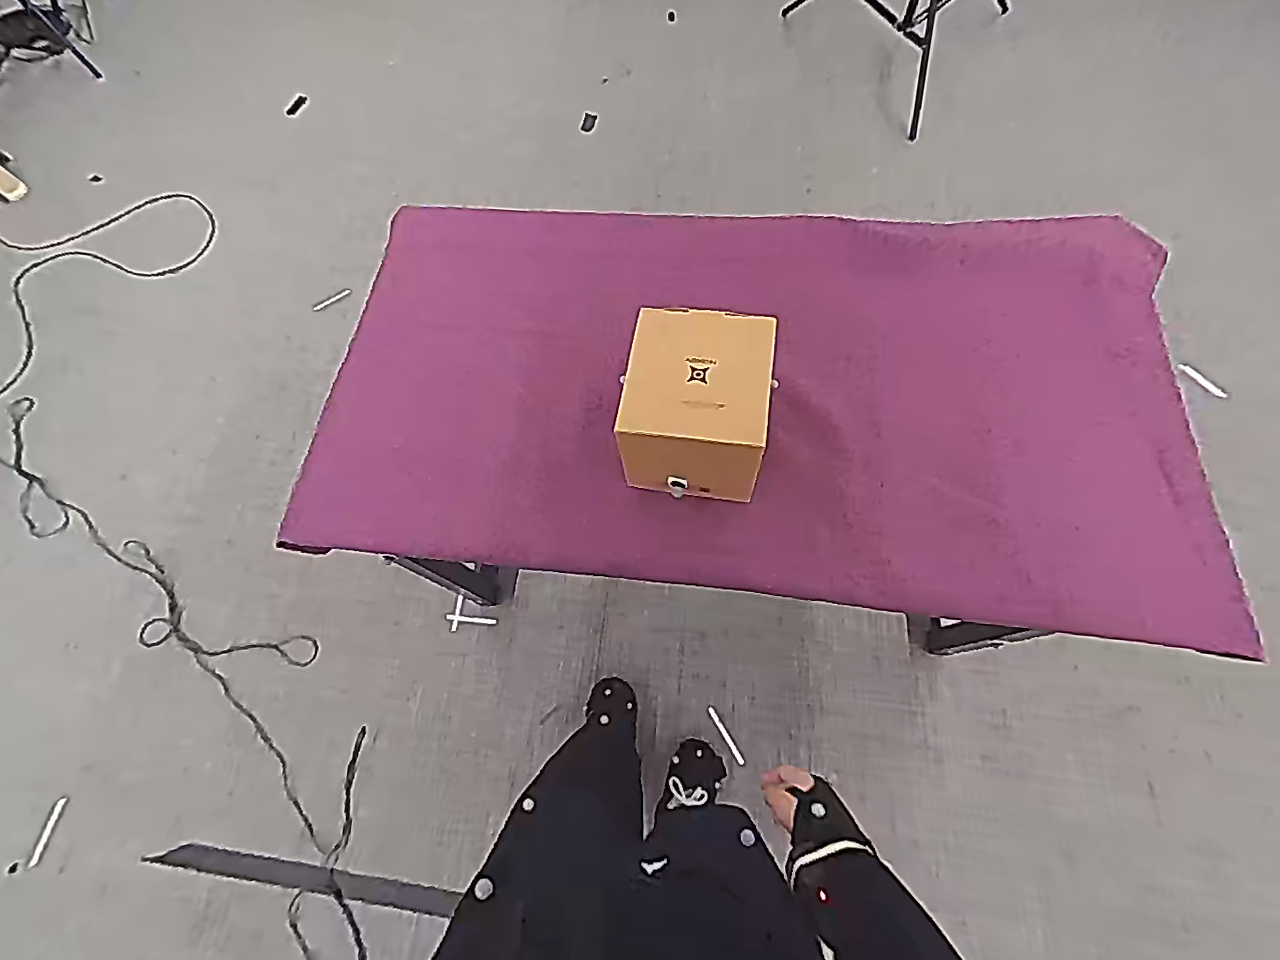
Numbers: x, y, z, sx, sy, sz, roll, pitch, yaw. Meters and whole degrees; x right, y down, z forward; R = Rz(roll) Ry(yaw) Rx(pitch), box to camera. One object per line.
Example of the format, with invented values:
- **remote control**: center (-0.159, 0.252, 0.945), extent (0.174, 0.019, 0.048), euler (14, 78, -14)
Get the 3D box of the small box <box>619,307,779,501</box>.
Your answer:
- **small box**: center (0.076, -0.092, 0.690), extent (0.168, 0.176, 0.179), euler (7, 68, 8)
